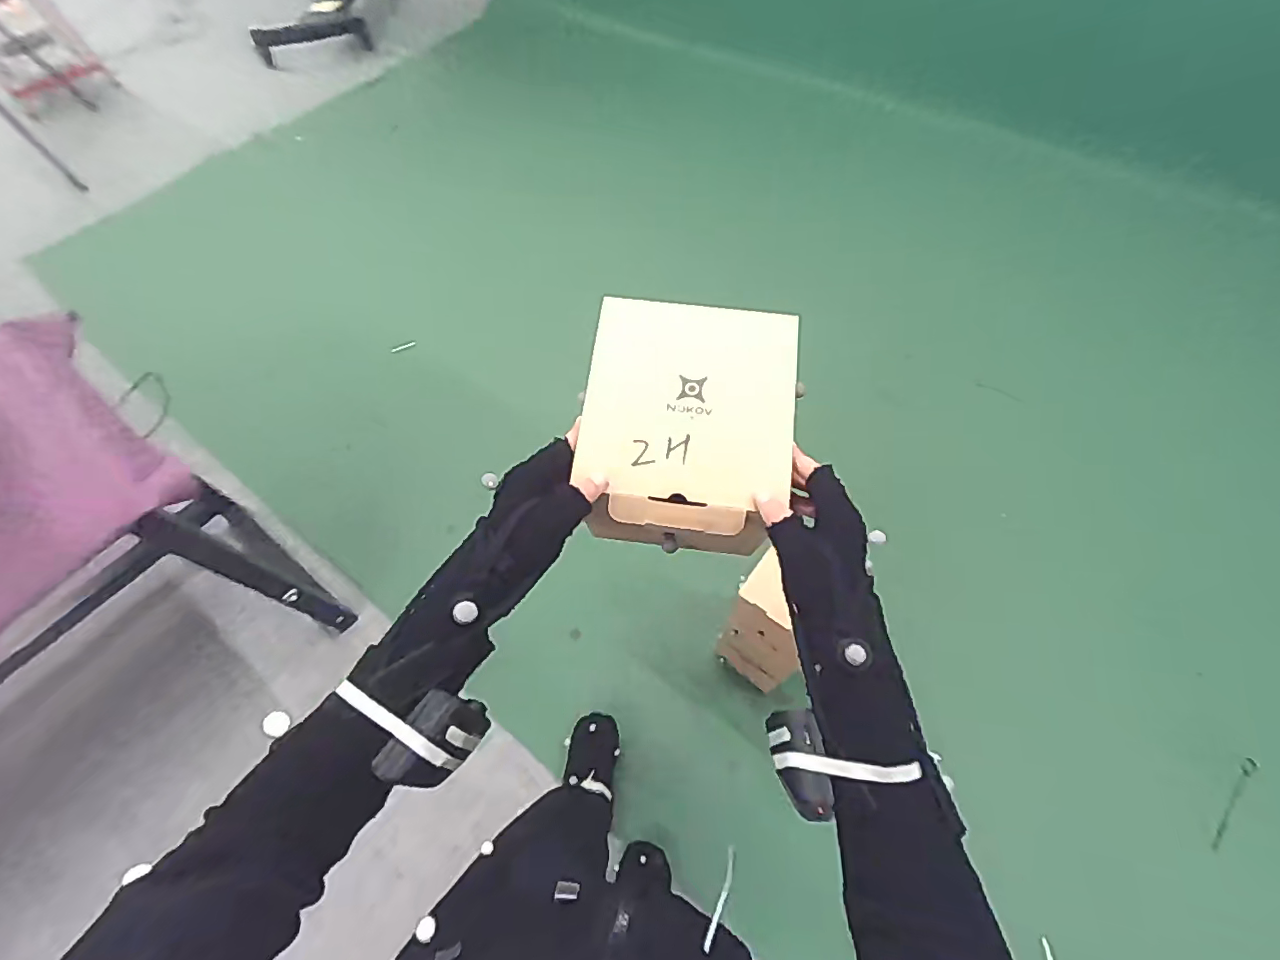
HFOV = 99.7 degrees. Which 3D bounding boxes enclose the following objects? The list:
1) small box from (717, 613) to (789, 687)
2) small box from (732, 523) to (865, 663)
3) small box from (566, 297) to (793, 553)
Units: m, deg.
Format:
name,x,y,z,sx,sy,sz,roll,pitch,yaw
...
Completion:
name,x,y,z,sx,sy,sz,roll,pitch,yaw
small box,0.301,0.378,1.322,0.168,0.176,0.179,36,68,20
small box,0.292,0.220,1.035,0.168,0.176,0.179,33,67,19
small box,0.036,-0.040,0.503,0.168,0.176,0.179,7,74,4
